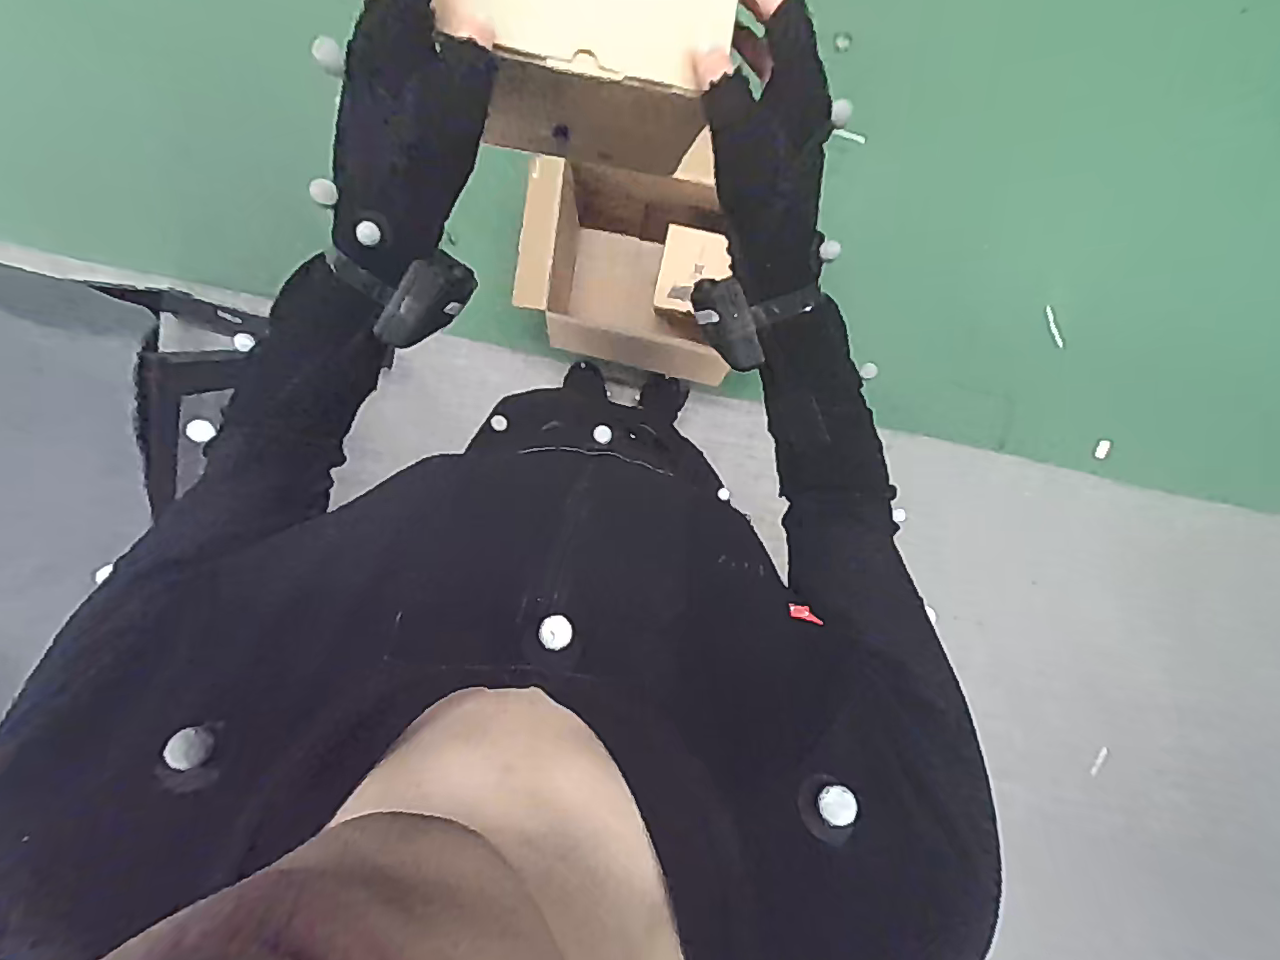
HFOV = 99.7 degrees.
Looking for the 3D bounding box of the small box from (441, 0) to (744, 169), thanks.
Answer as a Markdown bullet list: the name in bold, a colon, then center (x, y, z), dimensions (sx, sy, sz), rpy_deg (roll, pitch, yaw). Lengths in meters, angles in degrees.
- **small box**: center (-0.027, -0.336, 0.359), dimensions (0.168, 0.176, 0.179), rpy_deg (6, 106, -9)
